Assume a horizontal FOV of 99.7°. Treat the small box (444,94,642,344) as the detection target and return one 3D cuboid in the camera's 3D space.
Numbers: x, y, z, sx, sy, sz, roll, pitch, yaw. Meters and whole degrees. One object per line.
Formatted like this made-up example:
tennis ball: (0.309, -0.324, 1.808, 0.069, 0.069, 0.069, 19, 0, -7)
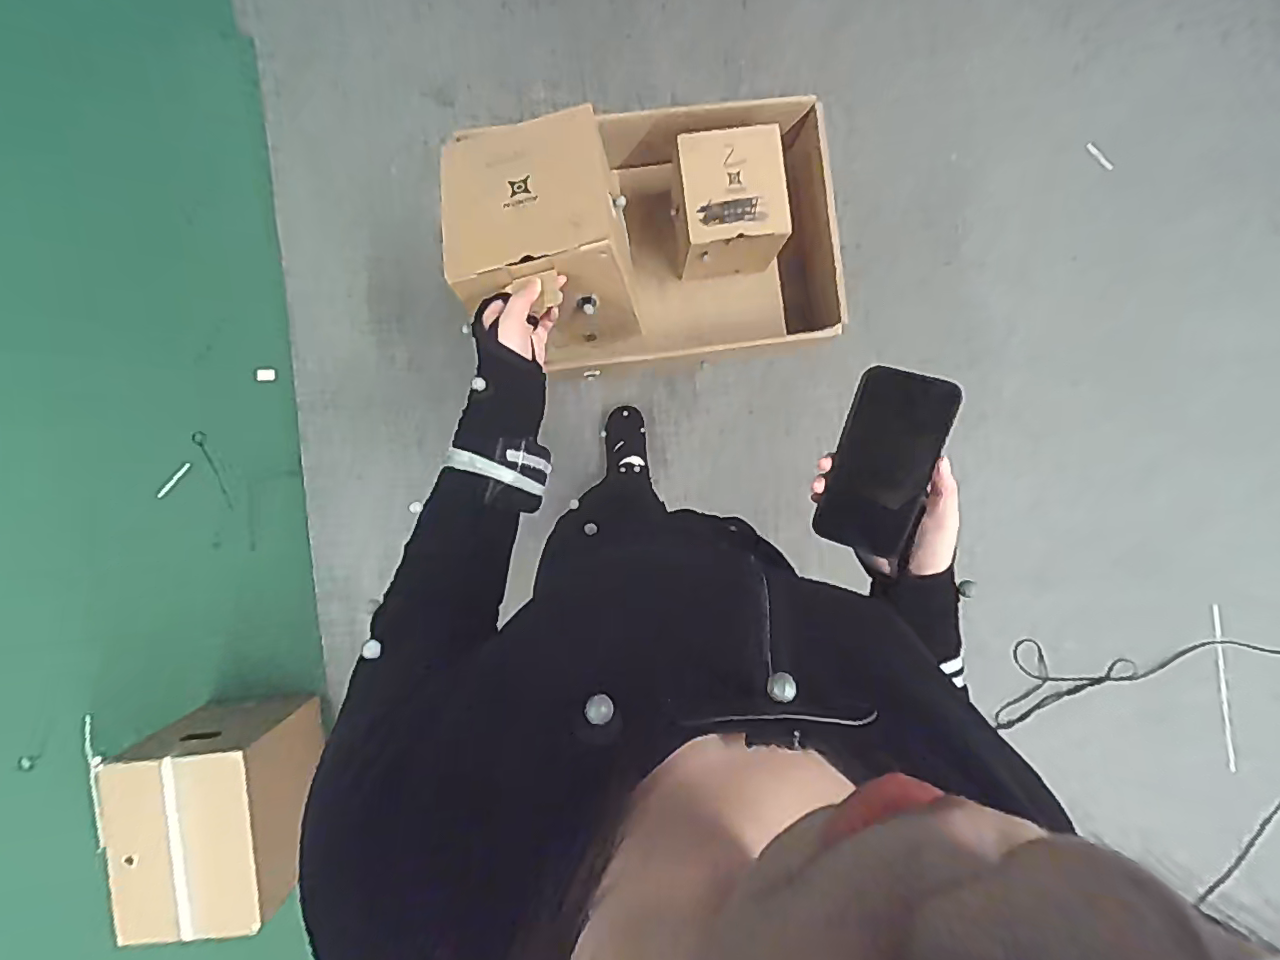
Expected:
small box: (-0.099, -0.270, 0.603, 0.168, 0.176, 0.179, -10, 71, 8)
